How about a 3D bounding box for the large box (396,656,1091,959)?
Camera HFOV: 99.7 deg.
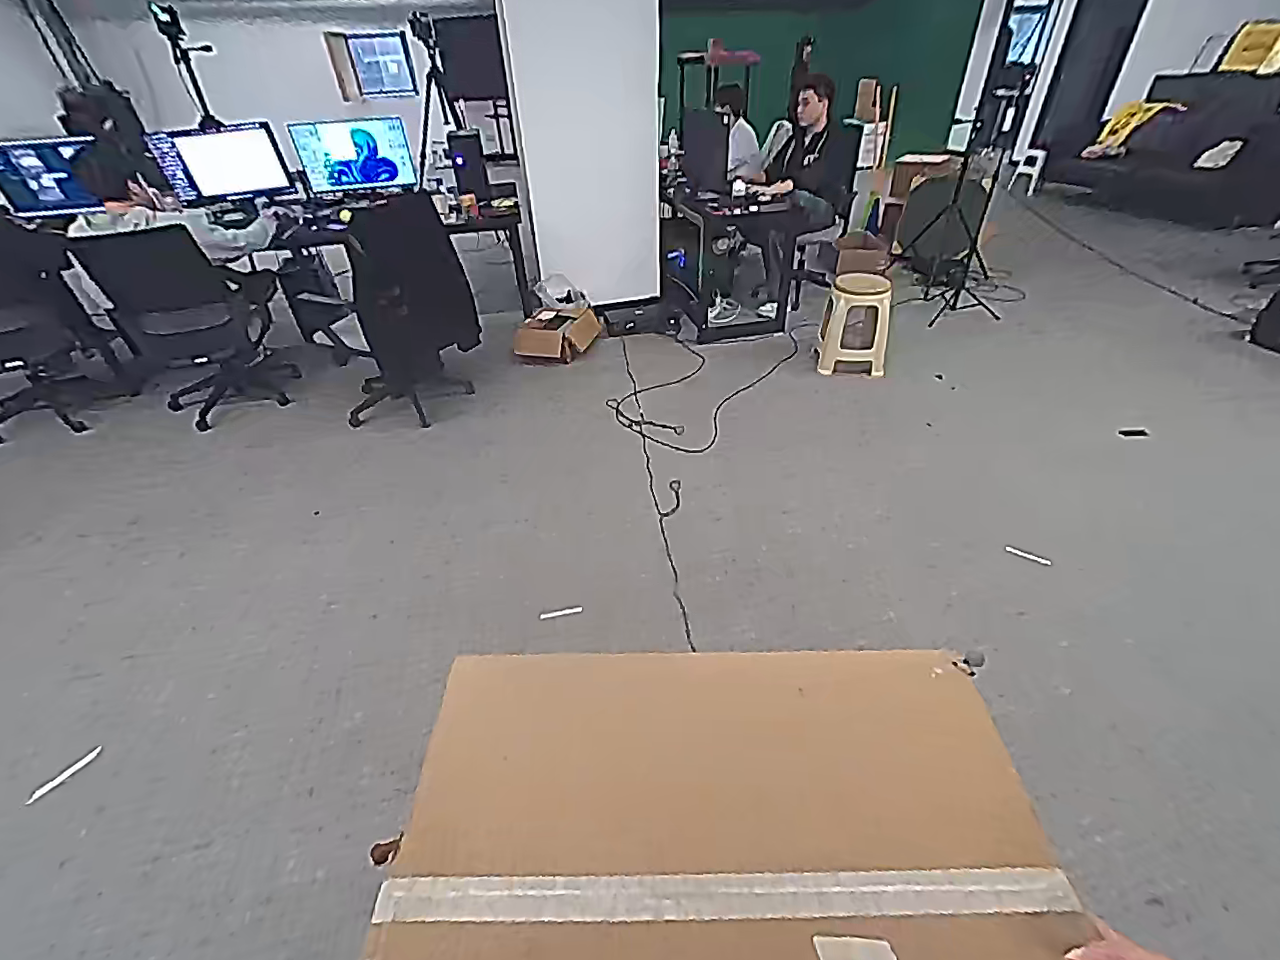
[{"bbox_3d":[0.057,0.362,0.431,0.408,0.320,0.320,-1,44,0],"label":"large box"}]
